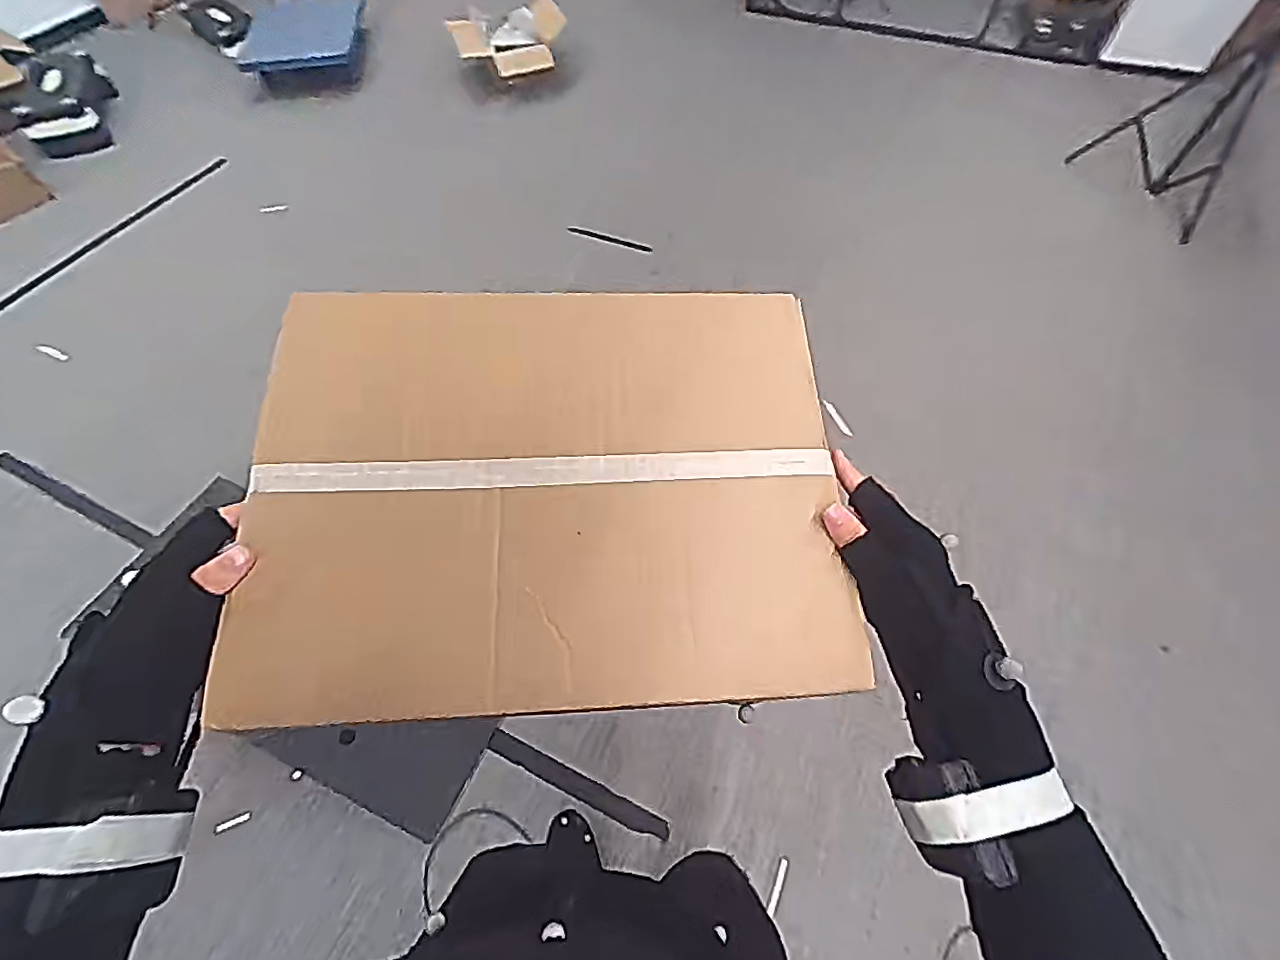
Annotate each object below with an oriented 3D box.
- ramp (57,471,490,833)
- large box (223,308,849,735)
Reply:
[{"bbox_3d":[-0.824,0.386,1.354,0.991,0.206,0.509,21,60,11],"label":"ramp"},{"bbox_3d":[-0.075,0.054,0.533,0.408,0.320,0.320,-1,68,-5],"label":"large box"}]
